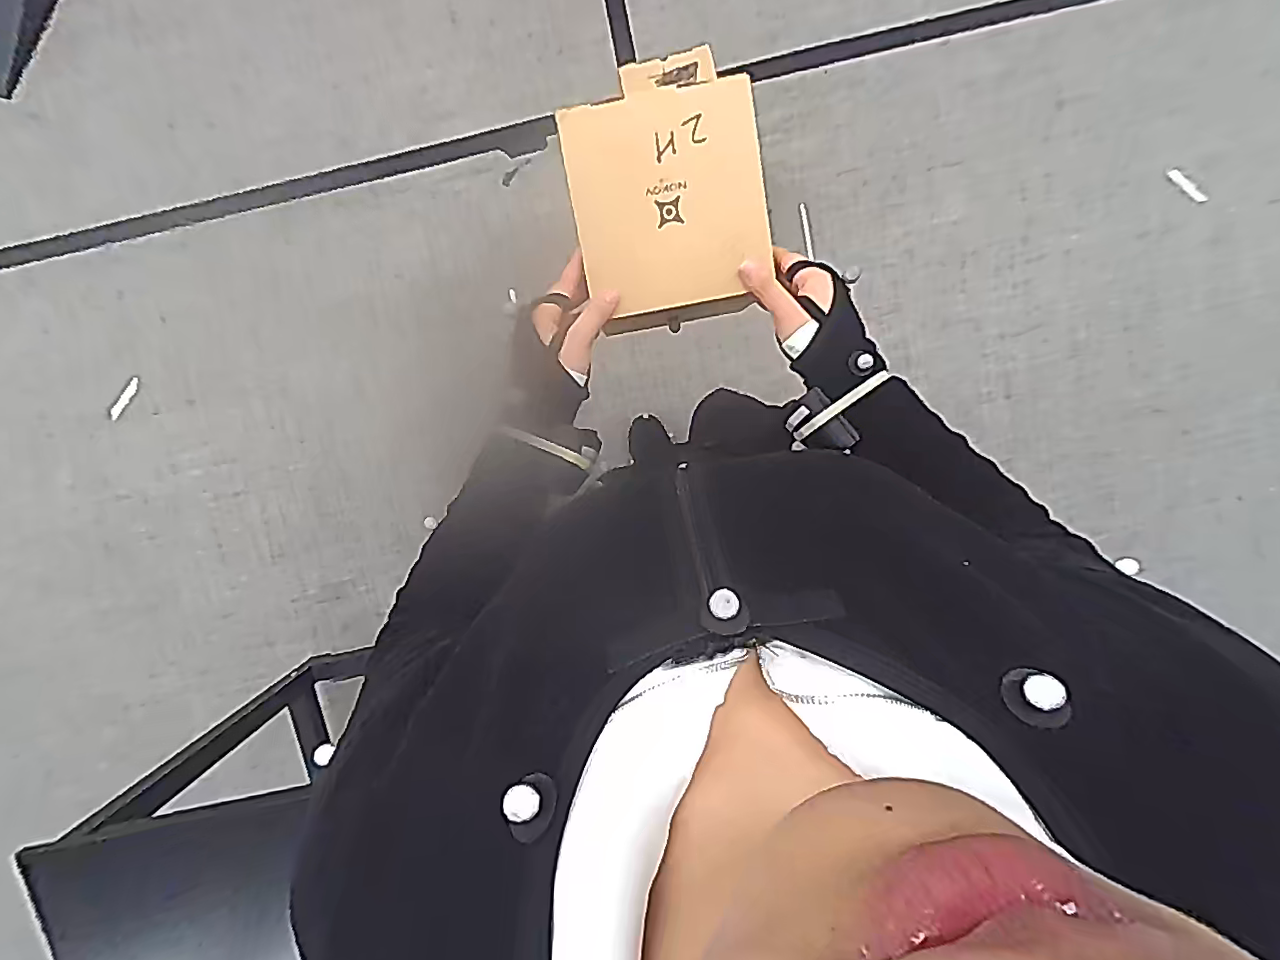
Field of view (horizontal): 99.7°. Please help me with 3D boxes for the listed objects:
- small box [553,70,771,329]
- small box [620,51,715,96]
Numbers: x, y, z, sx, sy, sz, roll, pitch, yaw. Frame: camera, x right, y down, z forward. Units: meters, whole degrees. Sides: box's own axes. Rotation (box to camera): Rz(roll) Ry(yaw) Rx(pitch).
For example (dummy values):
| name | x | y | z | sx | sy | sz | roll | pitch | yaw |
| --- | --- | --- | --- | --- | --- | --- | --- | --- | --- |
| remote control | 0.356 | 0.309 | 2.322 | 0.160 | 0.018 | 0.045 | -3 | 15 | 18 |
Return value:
| name | x | y | z | sx | sy | sz | roll | pitch | yaw |
| --- | --- | --- | --- | --- | --- | --- | --- | --- | --- |
| small box | 0.023 | -0.254 | 0.541 | 0.168 | 0.176 | 0.179 | -11 | 99 | 2 |
| small box | 0.060 | -0.648 | 1.021 | 0.168 | 0.176 | 0.179 | -14 | 96 | 0 |
